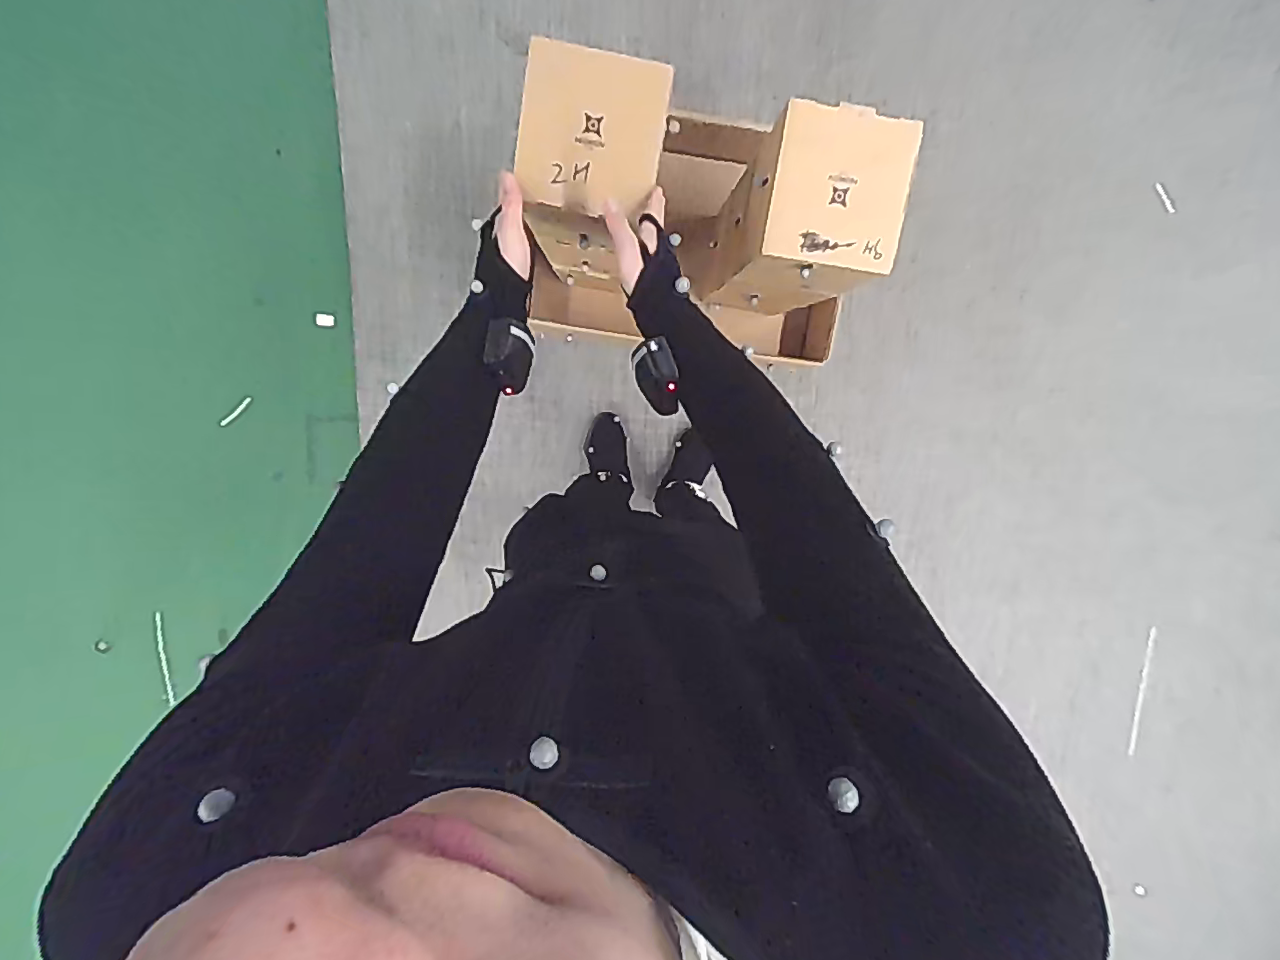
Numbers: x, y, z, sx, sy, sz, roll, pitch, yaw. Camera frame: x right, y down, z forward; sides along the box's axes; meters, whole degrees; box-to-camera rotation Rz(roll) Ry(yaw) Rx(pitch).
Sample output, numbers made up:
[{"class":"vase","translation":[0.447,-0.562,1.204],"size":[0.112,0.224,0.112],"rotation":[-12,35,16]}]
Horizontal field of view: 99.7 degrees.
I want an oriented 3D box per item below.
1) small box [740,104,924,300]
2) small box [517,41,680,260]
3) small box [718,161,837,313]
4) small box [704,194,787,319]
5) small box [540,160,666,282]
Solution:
[{"class":"small box","translation":[0.241,-0.355,0.725],"size":[0.168,0.176,0.179],"rotation":[9,100,-3]},{"class":"small box","translation":[-0.053,-0.409,0.704],"size":[0.168,0.176,0.179],"rotation":[10,100,-3]},{"class":"small box","translation":[0.233,-0.385,0.887],"size":[0.168,0.176,0.179],"rotation":[9,101,-3]},{"class":"small box","translation":[0.227,-0.419,1.046],"size":[0.168,0.176,0.179],"rotation":[9,99,-4]},{"class":"small box","translation":[-0.058,-0.434,0.867],"size":[0.168,0.176,0.179],"rotation":[9,100,-4]}]
